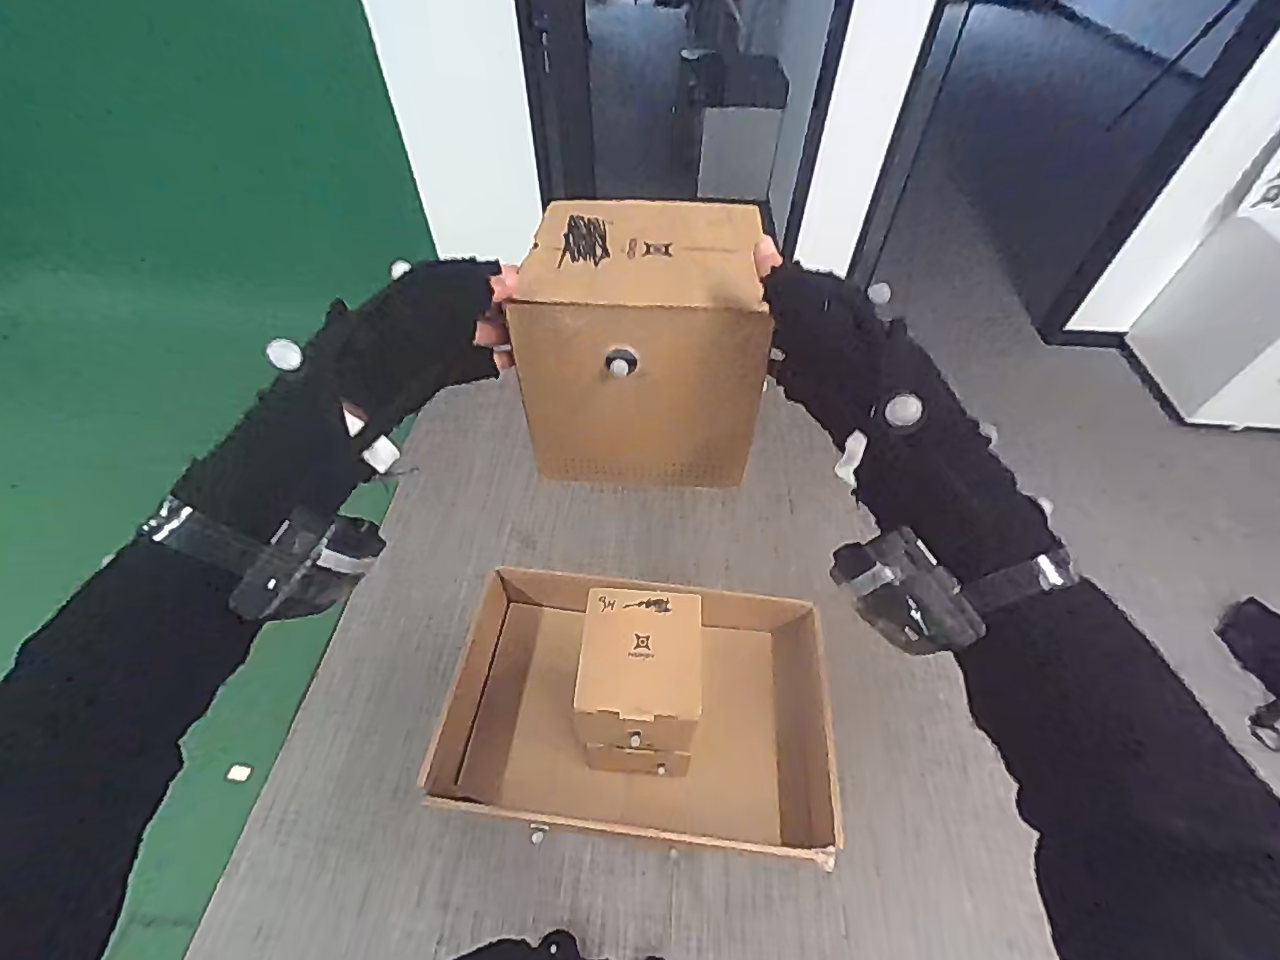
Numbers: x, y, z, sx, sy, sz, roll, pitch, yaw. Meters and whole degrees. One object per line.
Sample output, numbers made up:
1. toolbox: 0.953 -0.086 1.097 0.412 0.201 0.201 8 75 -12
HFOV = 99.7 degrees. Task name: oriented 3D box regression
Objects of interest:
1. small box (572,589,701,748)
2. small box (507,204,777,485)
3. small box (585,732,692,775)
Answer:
1. small box: 0.000 0.283 0.801 0.168 0.176 0.179 4 51 2
2. small box: 0.007 -0.111 0.452 0.179 0.176 0.168 3 47 3
3. small box: 0.004 0.390 0.925 0.168 0.176 0.179 4 49 1
